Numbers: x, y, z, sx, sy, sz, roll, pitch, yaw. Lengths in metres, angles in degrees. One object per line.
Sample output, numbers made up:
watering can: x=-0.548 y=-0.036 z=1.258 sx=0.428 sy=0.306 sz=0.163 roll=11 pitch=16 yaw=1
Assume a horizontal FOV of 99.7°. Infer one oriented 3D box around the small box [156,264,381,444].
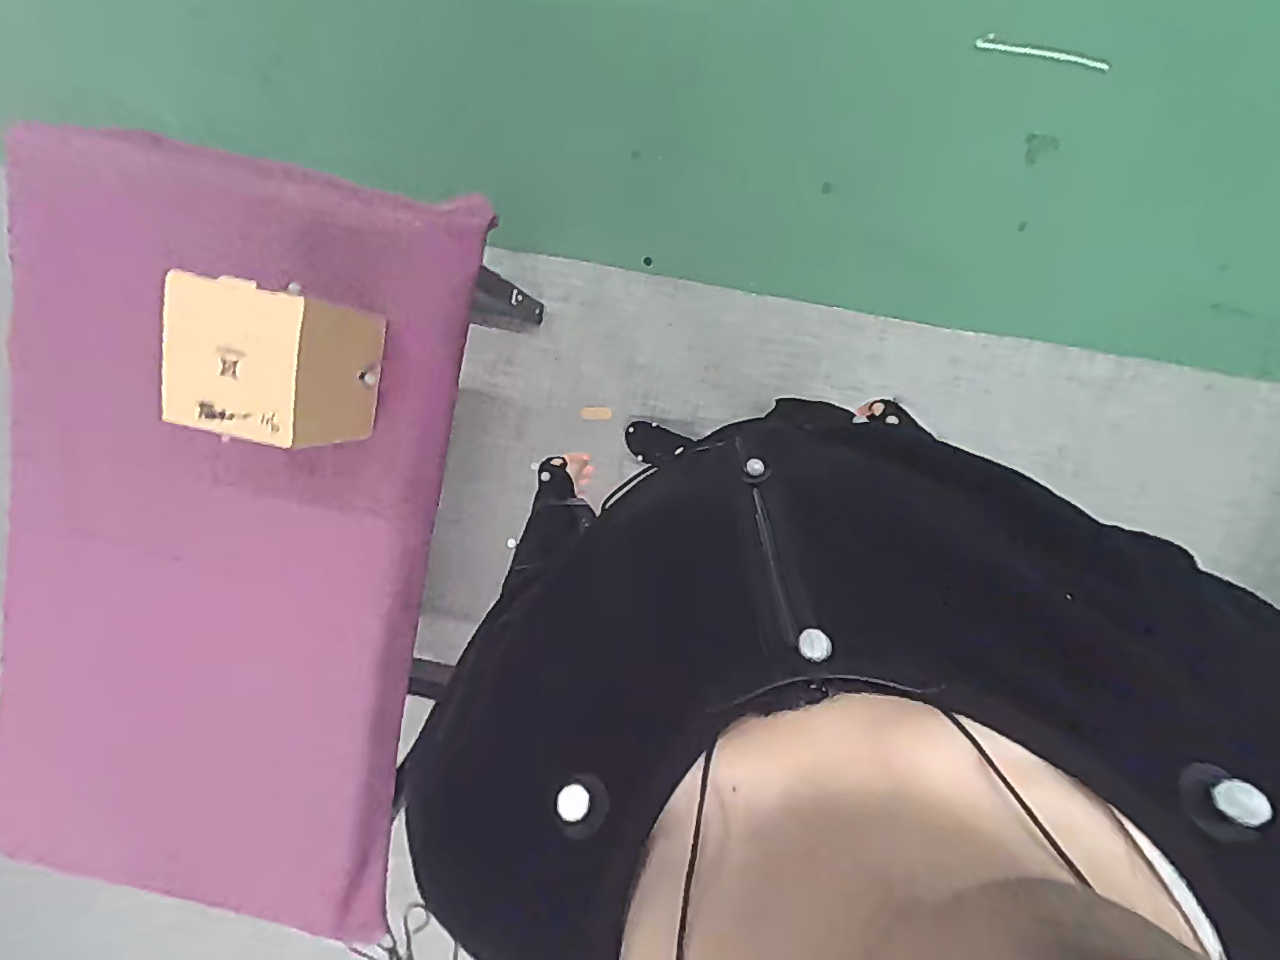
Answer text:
small box: x=-0.460 y=-0.153 z=0.694 sx=0.168 sy=0.176 sz=0.179 roll=13 pitch=99 yaw=4
